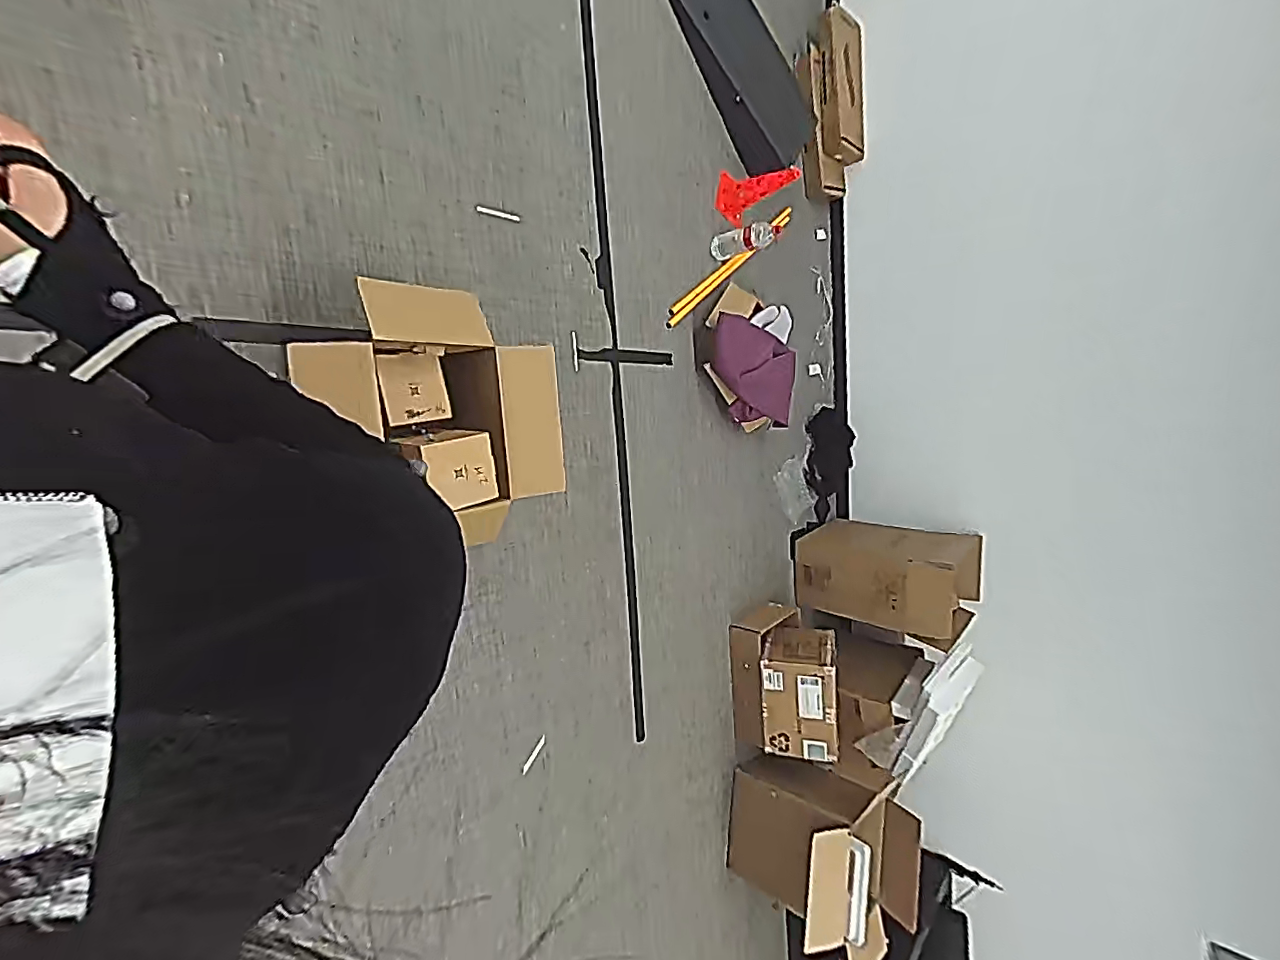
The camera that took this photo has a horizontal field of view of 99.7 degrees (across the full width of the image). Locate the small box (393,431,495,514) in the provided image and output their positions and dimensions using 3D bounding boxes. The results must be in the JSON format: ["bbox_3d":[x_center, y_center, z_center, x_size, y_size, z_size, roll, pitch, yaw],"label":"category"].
[{"bbox_3d":[-0.485,-0.025,1.324,0.179,0.176,0.168,-19,110,-43],"label":"small box"}]
